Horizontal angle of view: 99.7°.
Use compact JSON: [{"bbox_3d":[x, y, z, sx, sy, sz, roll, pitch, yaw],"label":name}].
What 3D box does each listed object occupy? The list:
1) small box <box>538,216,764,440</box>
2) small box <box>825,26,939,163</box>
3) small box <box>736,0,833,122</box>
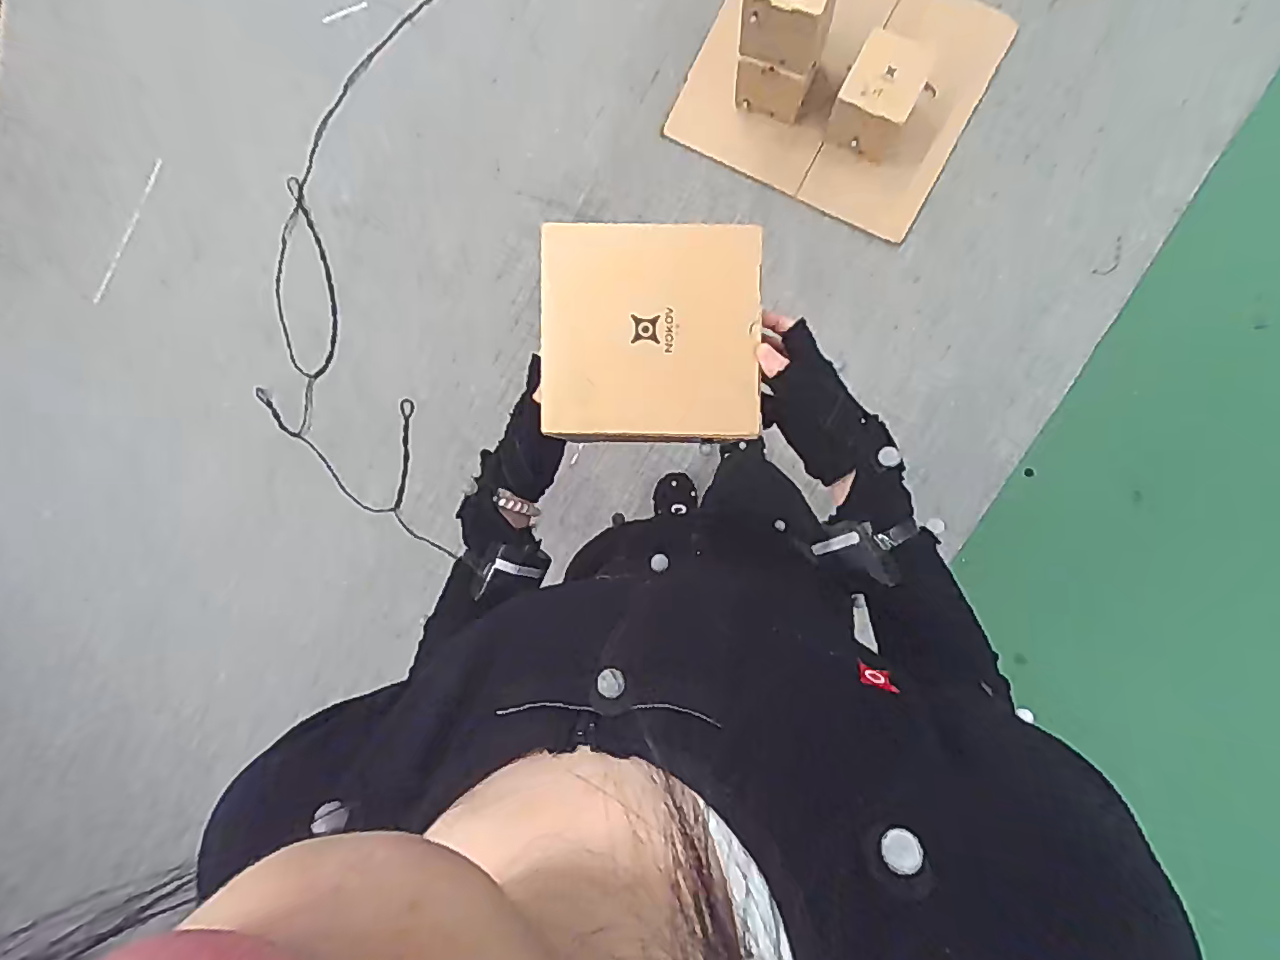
[{"bbox_3d":[0.009,-0.123,0.502,0.179,0.176,0.168,1,92,0],"label":"small box"},{"bbox_3d":[0.566,-0.912,1.296,0.168,0.176,0.179,28,95,6],"label":"small box"},{"bbox_3d":[0.341,-1.022,1.315,0.168,0.176,0.179,24,94,5],"label":"small box"}]
